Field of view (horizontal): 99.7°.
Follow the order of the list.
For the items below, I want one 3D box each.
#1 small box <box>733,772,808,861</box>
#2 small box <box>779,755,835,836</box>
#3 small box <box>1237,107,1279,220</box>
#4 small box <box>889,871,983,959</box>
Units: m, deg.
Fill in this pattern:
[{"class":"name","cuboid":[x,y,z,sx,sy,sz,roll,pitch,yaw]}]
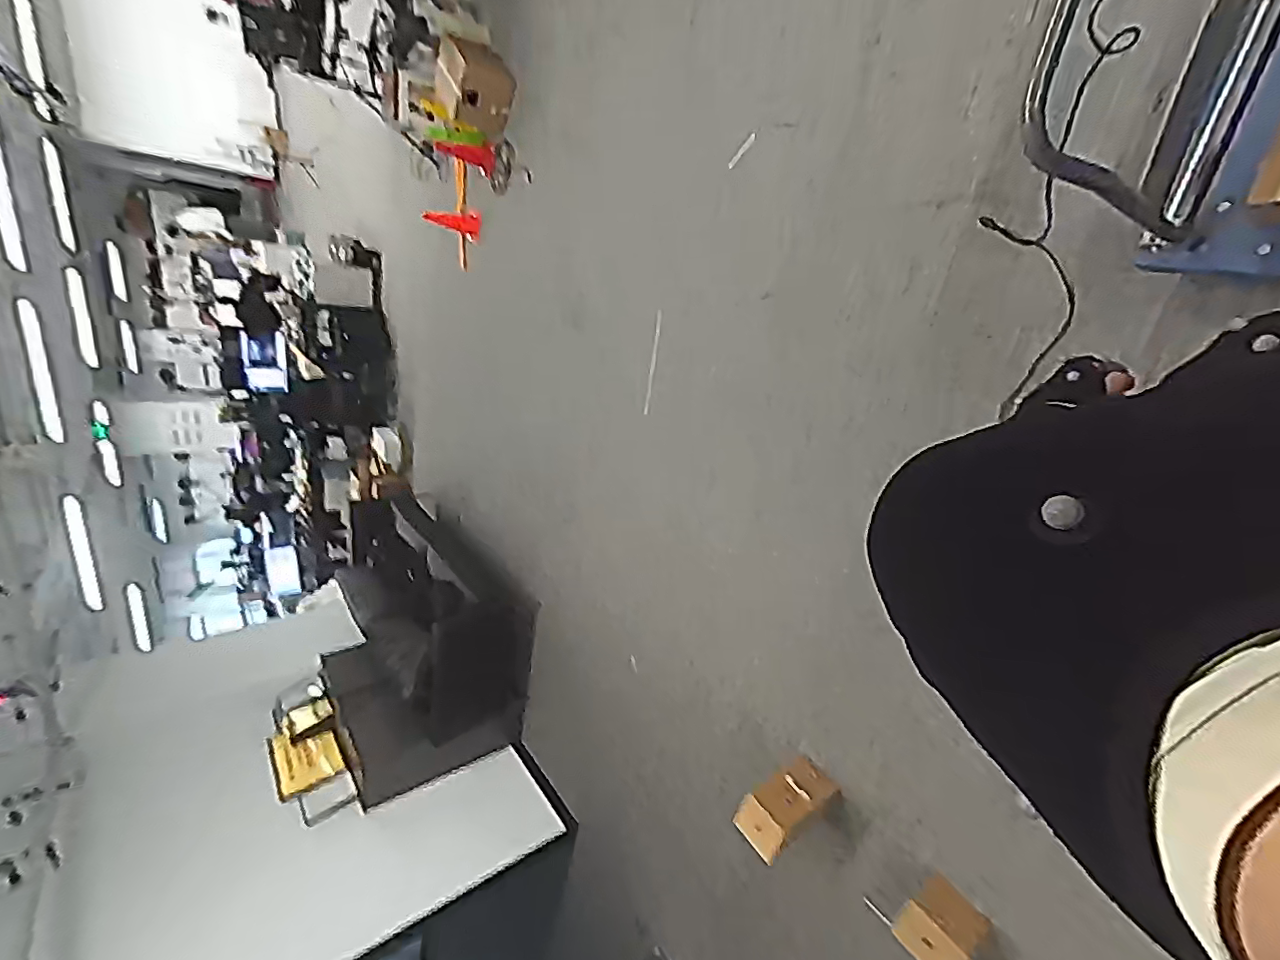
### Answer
[{"class":"small box","cuboid":[0.464,1.185,1.912,0.168,0.176,0.179,37,122,41]},{"class":"small box","cuboid":[0.592,1.168,2.008,0.168,0.176,0.179,41,124,36]},{"class":"small box","cuboid":[1.092,-0.510,0.842,0.168,0.176,0.179,27,117,45]},{"class":"small box","cuboid":[0.912,1.362,1.660,0.179,0.176,0.168,36,122,42]}]
